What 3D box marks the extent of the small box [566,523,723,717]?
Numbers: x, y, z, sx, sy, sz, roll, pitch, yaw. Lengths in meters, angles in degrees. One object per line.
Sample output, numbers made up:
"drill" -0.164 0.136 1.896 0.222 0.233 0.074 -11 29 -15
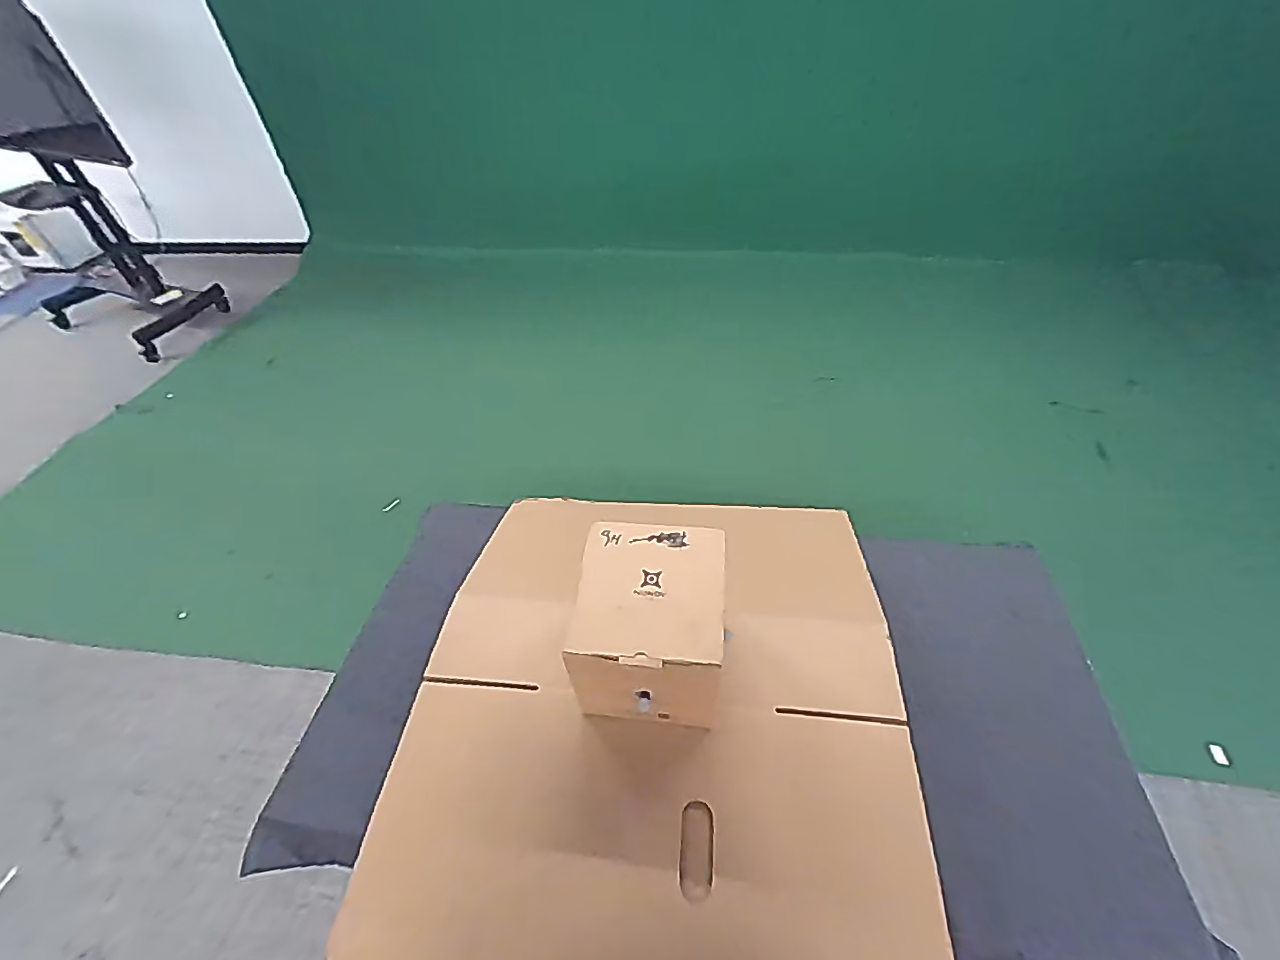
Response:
"small box" 0.017 0.173 0.662 0.168 0.176 0.179 1 47 6
